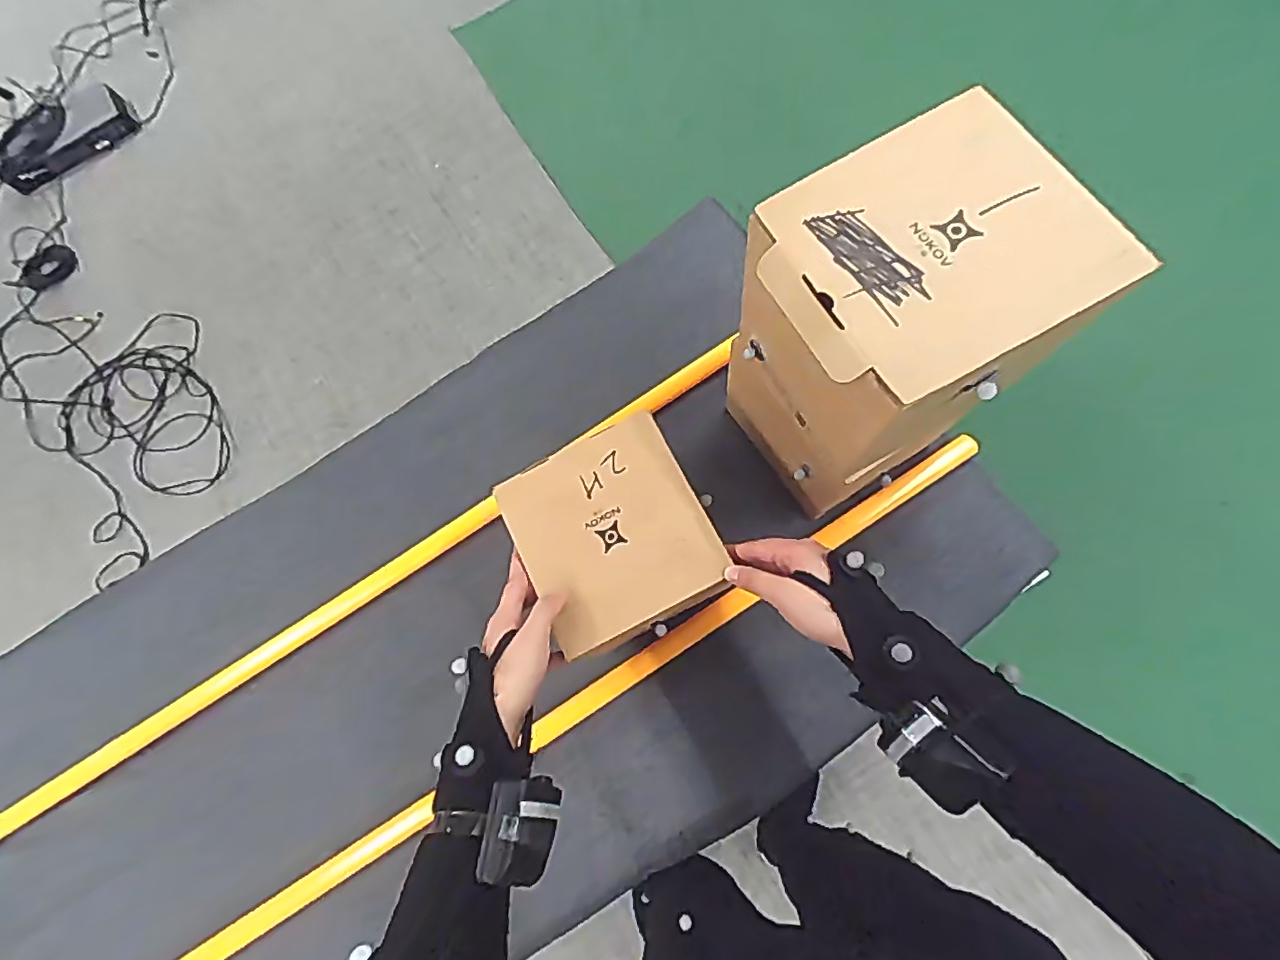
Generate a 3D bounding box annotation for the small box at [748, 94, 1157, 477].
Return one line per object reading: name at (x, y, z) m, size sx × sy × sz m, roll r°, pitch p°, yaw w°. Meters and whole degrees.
small box at (0.194, -0.123, 0.405) m, size 0.179 × 0.176 × 0.168 m, roll -28°, pitch 74°, yaw -2°
